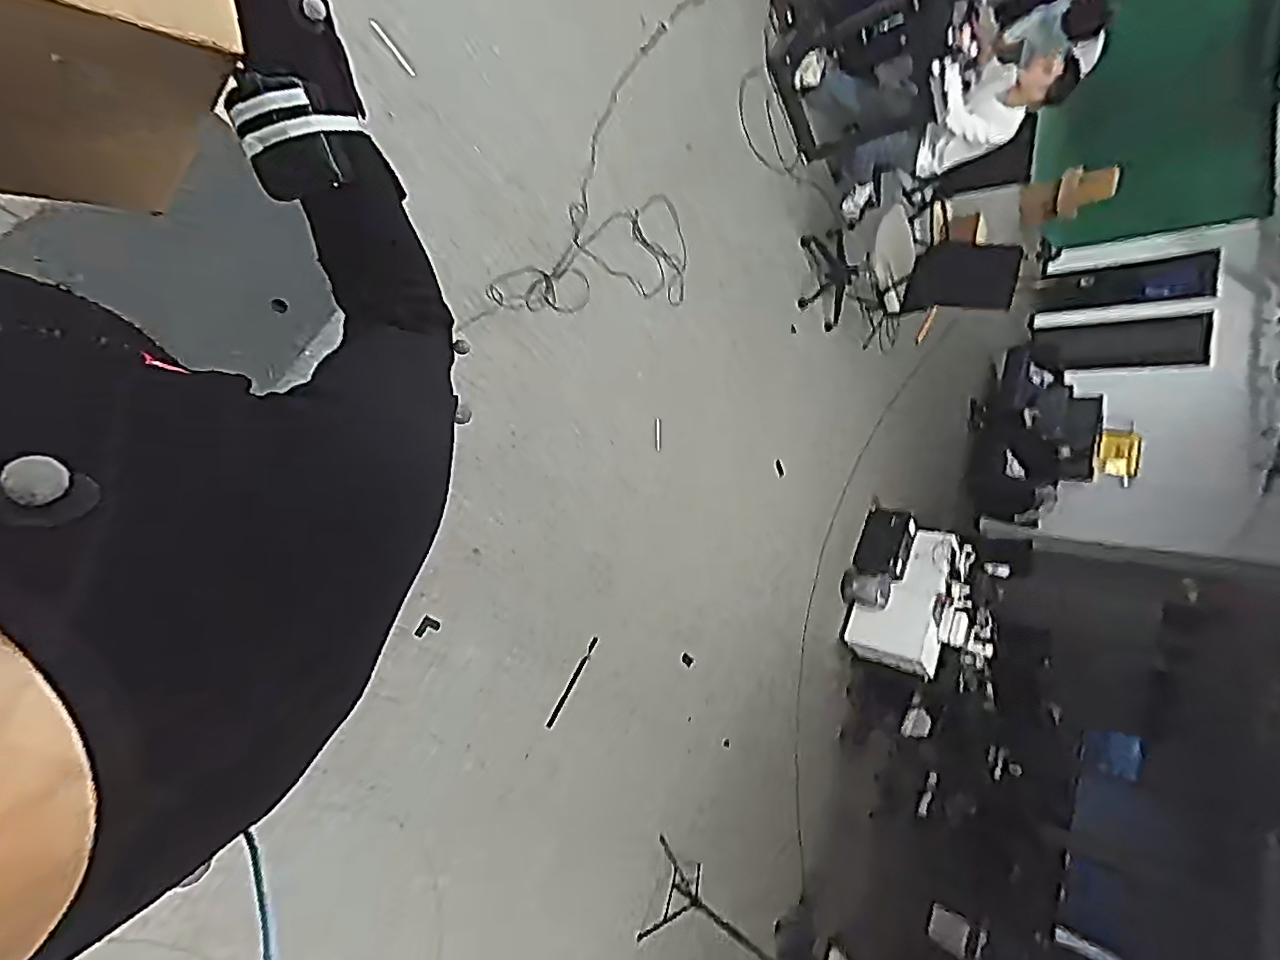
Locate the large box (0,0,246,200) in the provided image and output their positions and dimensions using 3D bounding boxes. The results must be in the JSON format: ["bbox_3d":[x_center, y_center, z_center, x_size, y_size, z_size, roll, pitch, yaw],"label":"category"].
[{"bbox_3d":[-0.513,-0.381,0.277,0.408,0.320,0.320,-18,105,-47],"label":"large box"}]

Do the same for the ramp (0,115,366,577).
[{"bbox_3d":[-1.064,-0.345,1.168,0.509,0.206,0.991,42,65,-39],"label":"ramp"}]
